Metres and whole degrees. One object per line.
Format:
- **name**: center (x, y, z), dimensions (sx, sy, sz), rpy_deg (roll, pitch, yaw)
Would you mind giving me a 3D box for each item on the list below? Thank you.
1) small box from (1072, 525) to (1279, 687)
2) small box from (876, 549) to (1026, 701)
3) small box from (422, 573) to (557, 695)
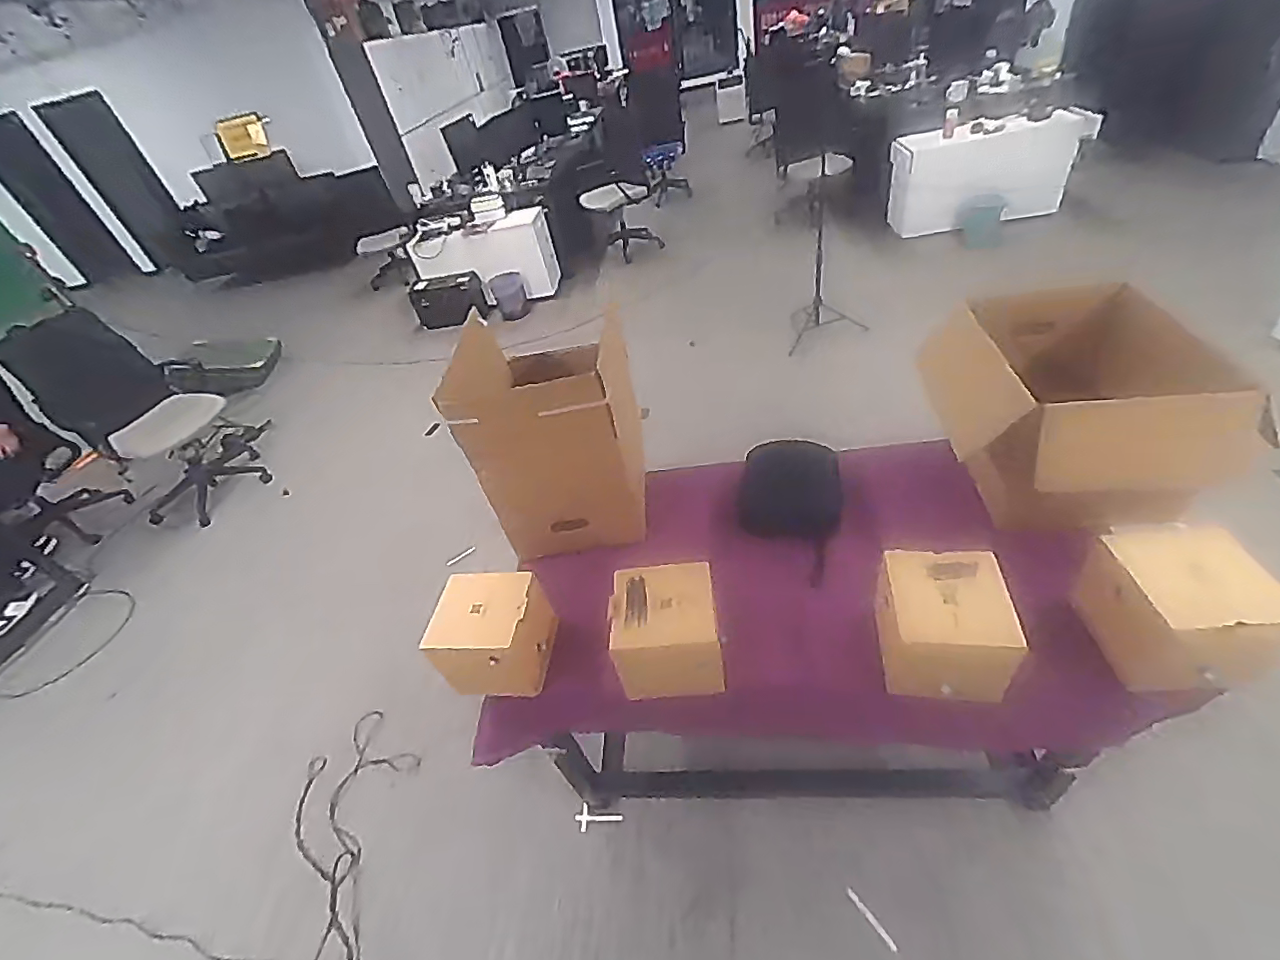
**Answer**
- **small box**: center (0.816, 0.194, 0.831), dimensions (0.168, 0.176, 0.179), rpy_deg (-7, 41, 10)
- **small box**: center (0.490, 0.234, 0.885), dimensions (0.168, 0.176, 0.179), rpy_deg (-2, 44, 15)
- **small box**: center (-0.277, 0.298, 1.037), dimensions (0.179, 0.176, 0.168), rpy_deg (-4, 42, 10)
